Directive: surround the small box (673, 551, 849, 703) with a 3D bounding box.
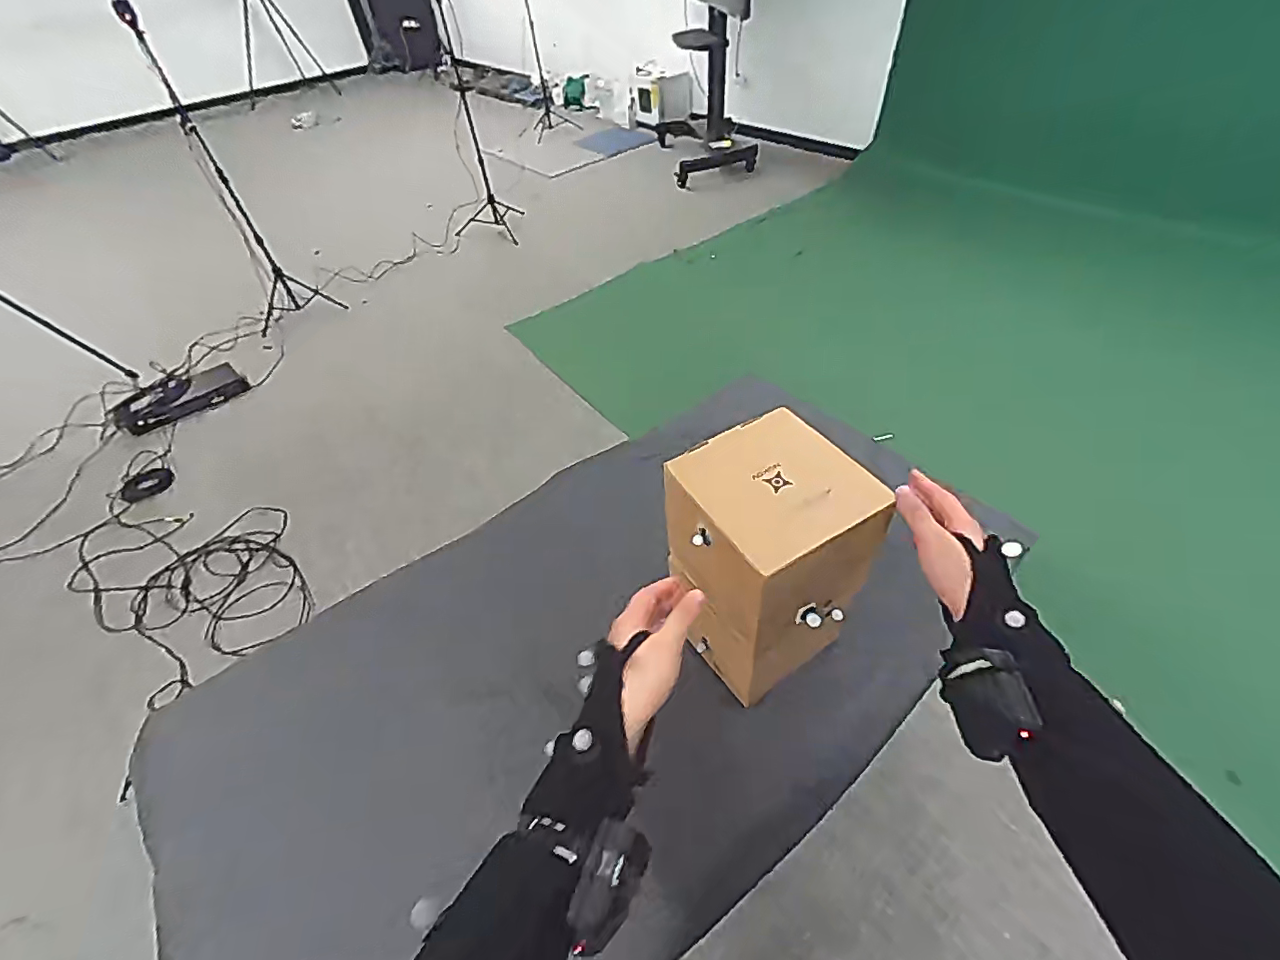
[{"bbox_3d":[0.160,0.161,0.728,0.179,0.176,0.168,-29,50,-19],"label":"small box"}]

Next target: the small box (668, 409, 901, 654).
[{"bbox_3d":[0.145,0.057,0.604,0.168,0.176,0.179,-26,51,-15],"label":"small box"}]
